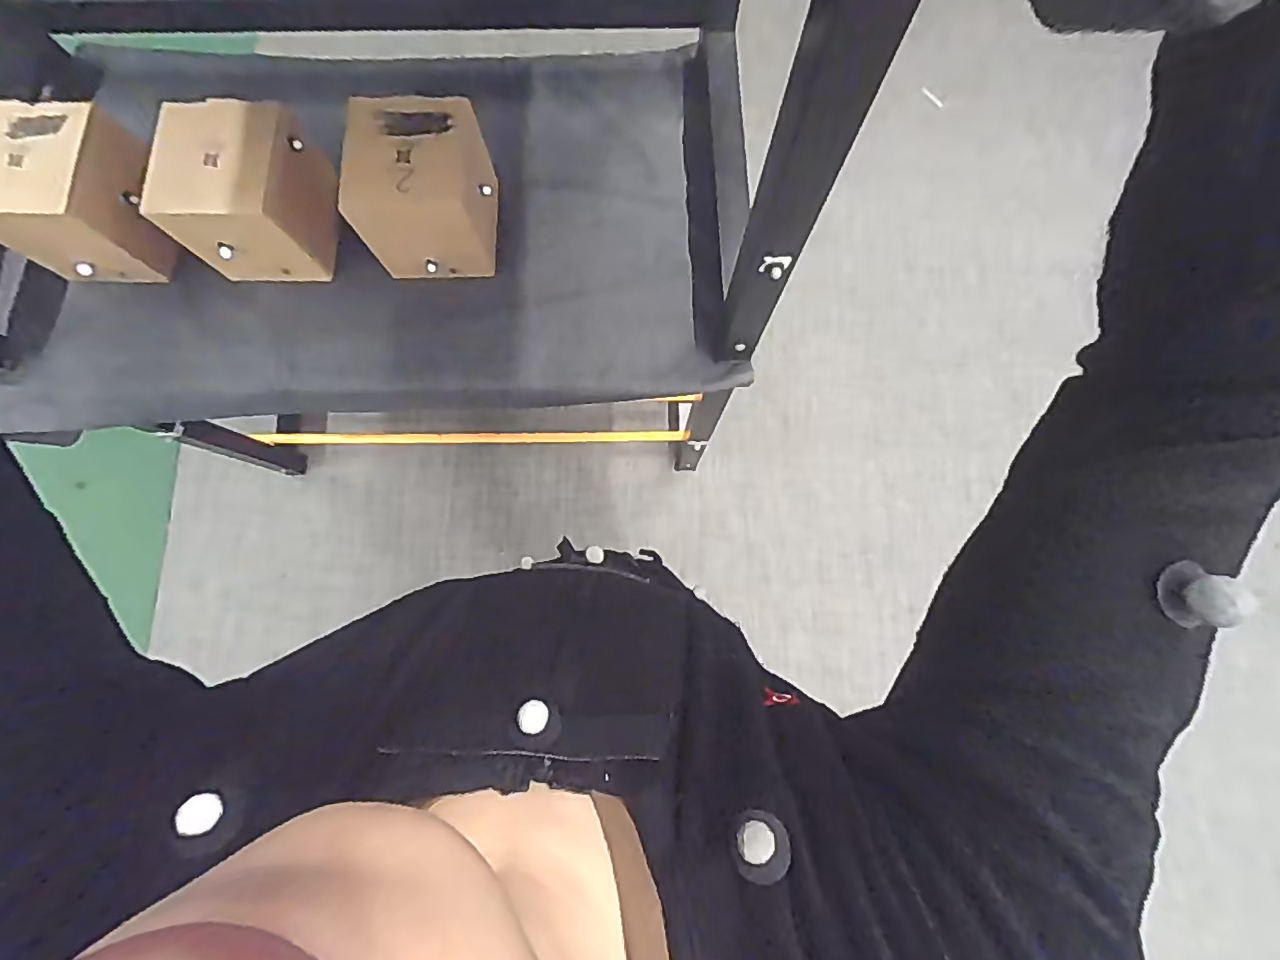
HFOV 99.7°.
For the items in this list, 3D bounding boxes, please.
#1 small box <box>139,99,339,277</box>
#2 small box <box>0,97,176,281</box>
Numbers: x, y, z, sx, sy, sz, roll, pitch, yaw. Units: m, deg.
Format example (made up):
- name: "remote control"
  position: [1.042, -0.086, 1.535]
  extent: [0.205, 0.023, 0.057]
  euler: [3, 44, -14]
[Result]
- name: "small box"
  position: [-0.577, -0.422, 0.803]
  extent: [0.168, 0.176, 0.179]
  euler: [0, 79, -1]
- name: "small box"
  position: [-0.829, -0.421, 0.798]
  extent: [0.168, 0.176, 0.179]
  euler: [0, 80, 0]
